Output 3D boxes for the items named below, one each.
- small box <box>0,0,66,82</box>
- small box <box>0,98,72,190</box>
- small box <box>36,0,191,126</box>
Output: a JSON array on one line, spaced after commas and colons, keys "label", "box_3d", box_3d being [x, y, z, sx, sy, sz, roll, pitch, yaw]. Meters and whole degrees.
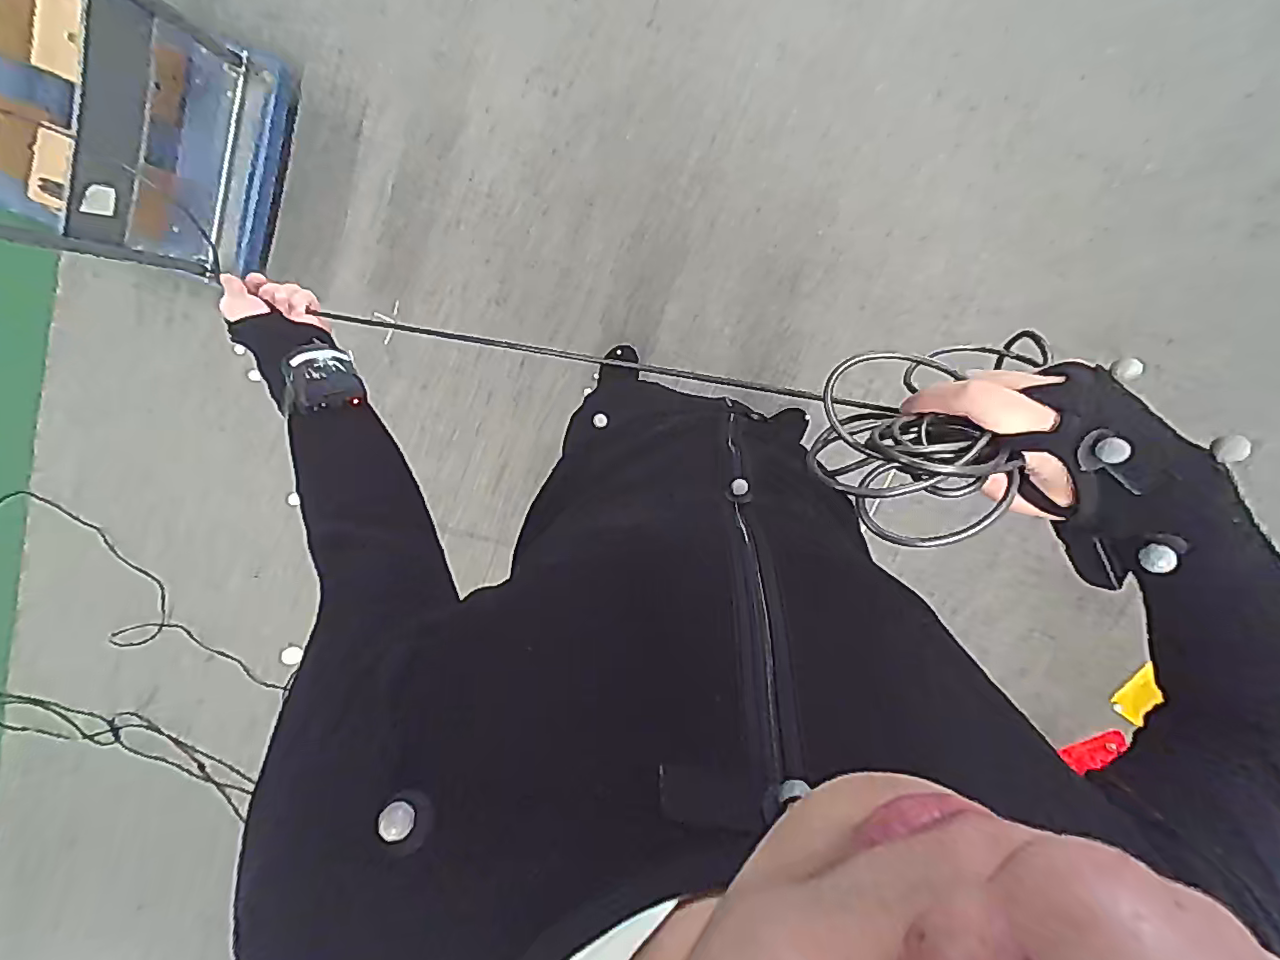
[{"label": "small box", "box_3d": [-1.436, -1.044, 1.218, 0.179, 0.176, 0.168, 18, 104, -2]}, {"label": "small box", "box_3d": [-1.511, -0.811, 1.276, 0.179, 0.176, 0.168, 18, 102, -1]}, {"label": "small box", "box_3d": [-1.185, -0.945, 1.226, 0.179, 0.176, 0.168, 22, 103, -3]}]
